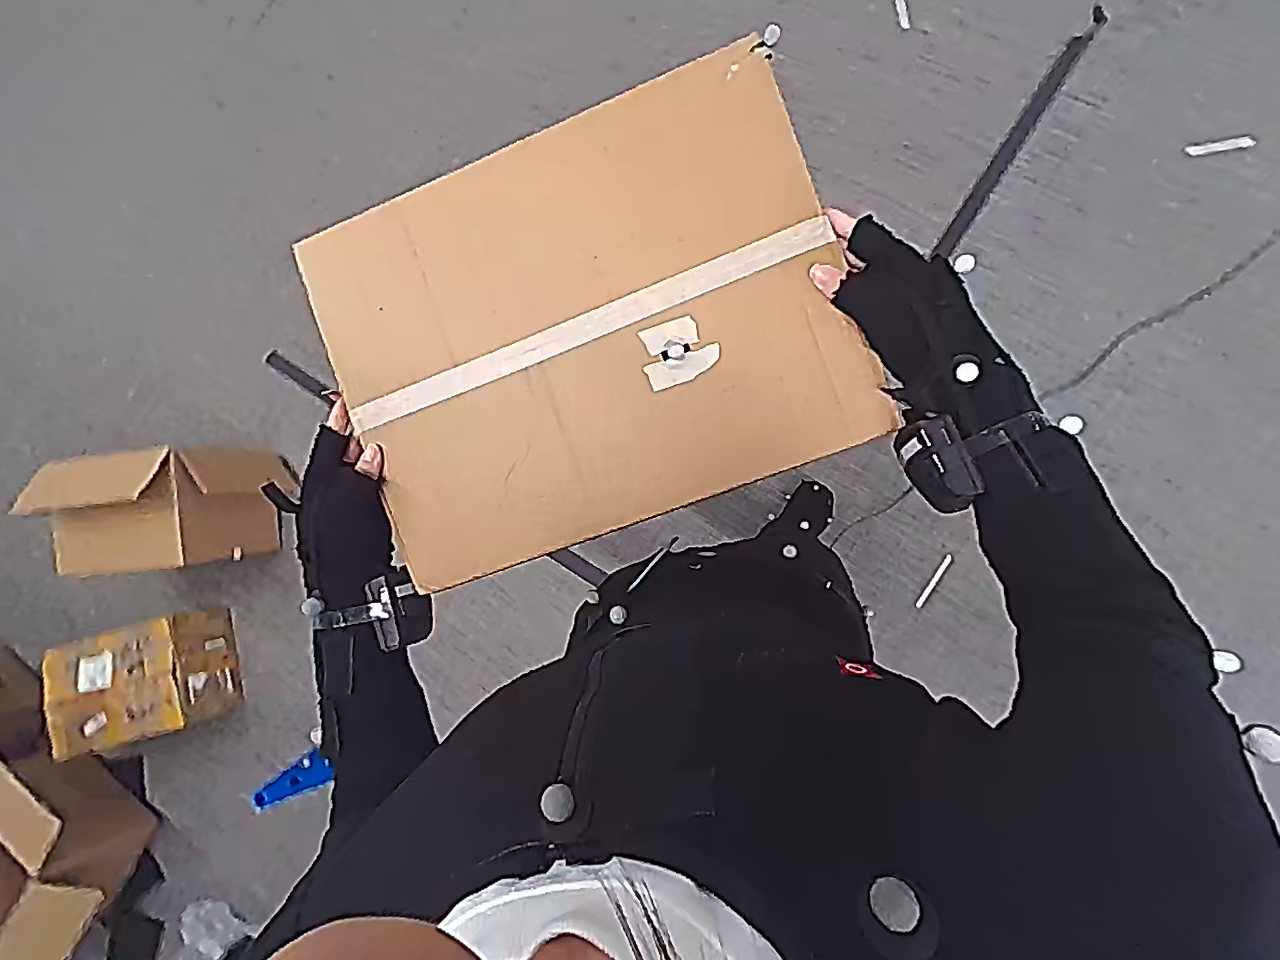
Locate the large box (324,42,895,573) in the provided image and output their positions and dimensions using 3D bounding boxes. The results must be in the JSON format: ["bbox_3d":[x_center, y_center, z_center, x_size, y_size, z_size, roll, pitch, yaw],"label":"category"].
[{"bbox_3d":[-0.022,-0.132,0.584,0.408,0.320,0.320,-19,91,6],"label":"large box"}]
